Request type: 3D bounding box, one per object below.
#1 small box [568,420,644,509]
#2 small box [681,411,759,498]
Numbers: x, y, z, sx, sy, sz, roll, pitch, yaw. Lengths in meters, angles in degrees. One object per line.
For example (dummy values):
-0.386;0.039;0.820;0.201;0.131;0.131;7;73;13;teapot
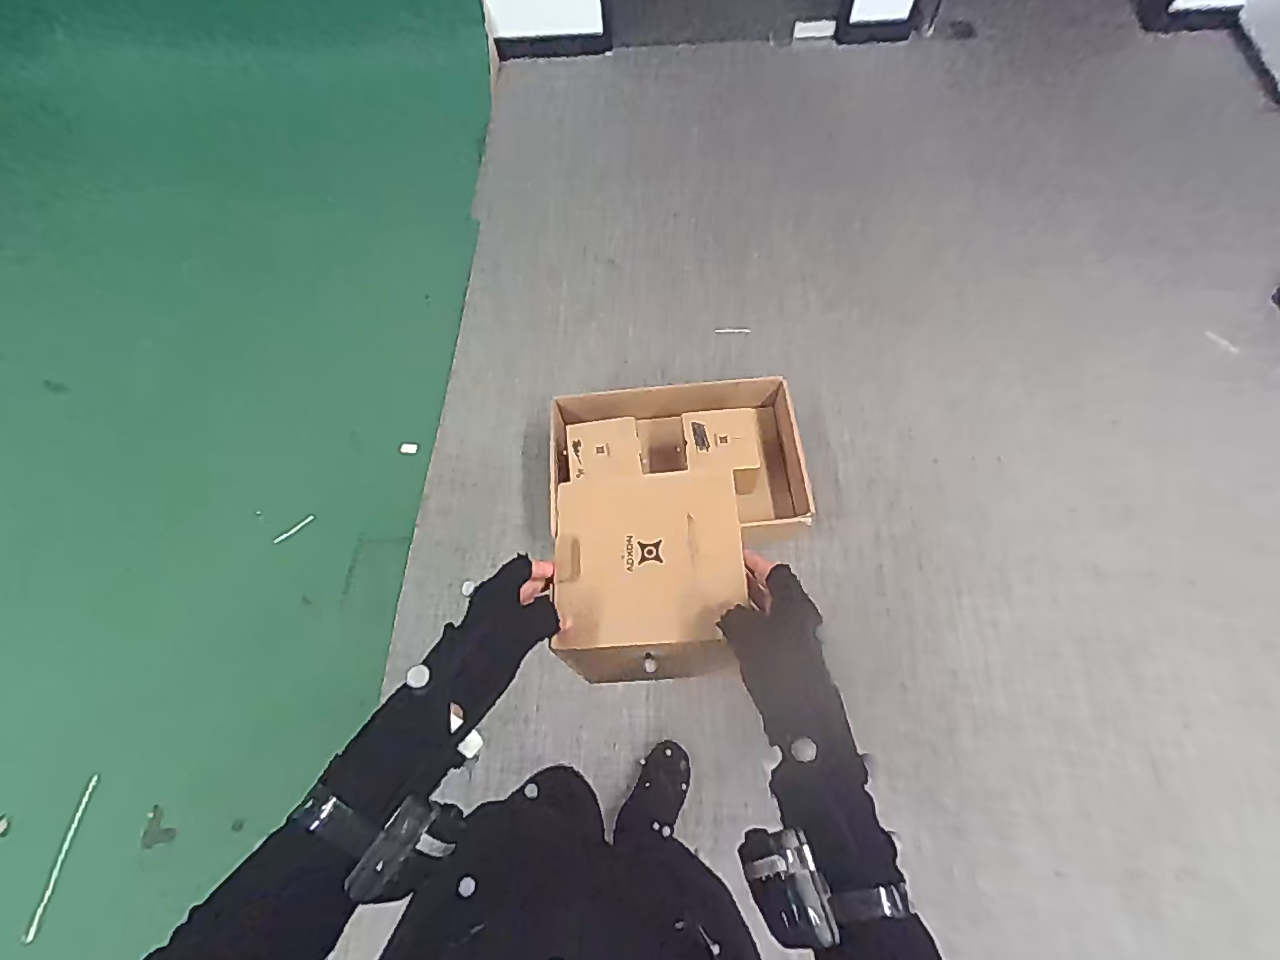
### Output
-0.084;-0.035;1.385;0.179;0.176;0.168;-7;66;-1;small box
0.197;-0.060;1.380;0.179;0.176;0.168;-4;67;1;small box
